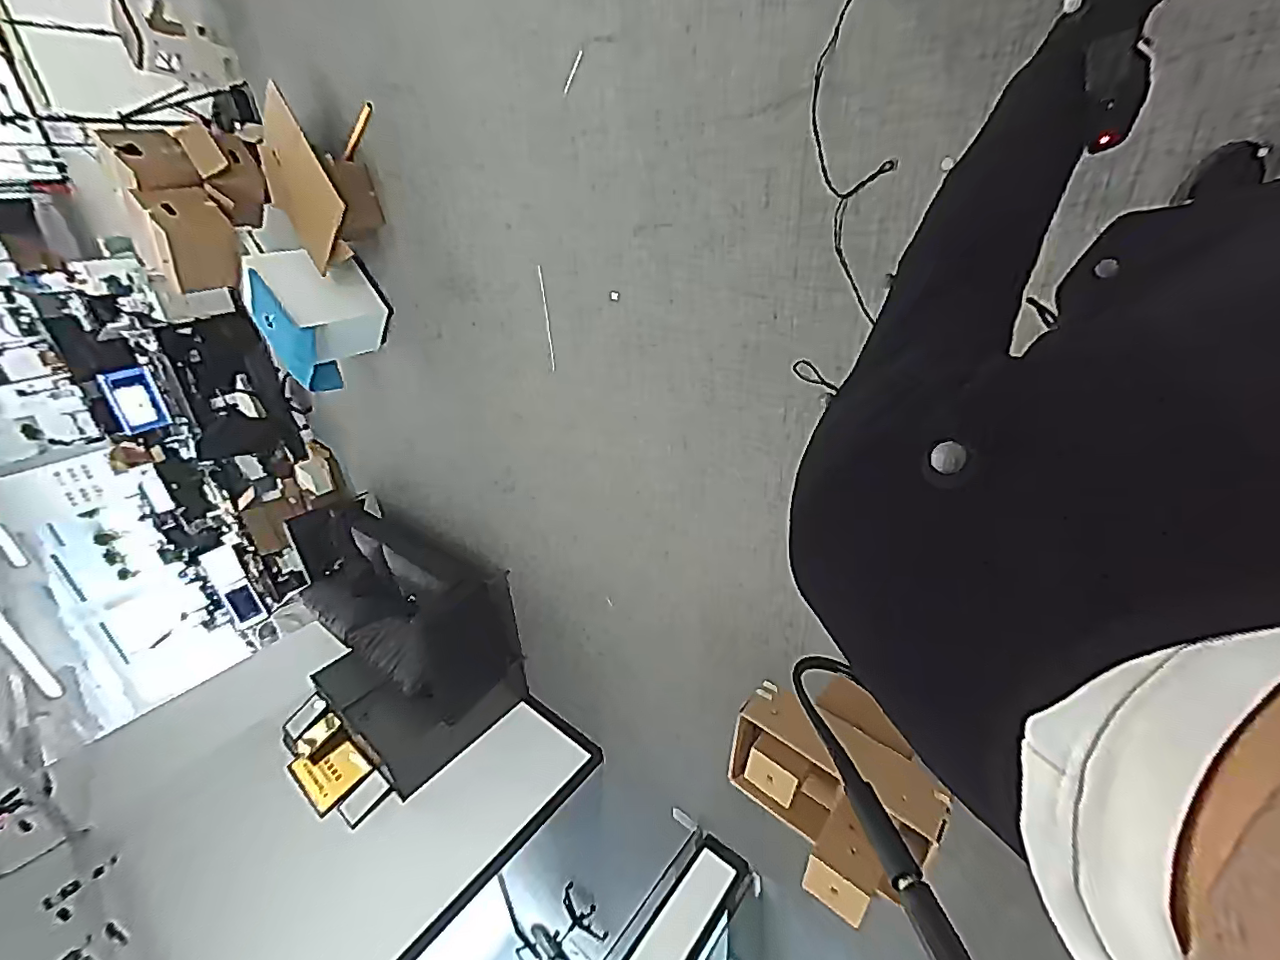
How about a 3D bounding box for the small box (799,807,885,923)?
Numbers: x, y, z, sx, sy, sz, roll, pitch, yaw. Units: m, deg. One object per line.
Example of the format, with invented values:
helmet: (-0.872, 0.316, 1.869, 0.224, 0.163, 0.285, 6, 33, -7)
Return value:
small box: (0.577, 1.084, 1.537, 0.168, 0.176, 0.179, 23, 127, 34)
